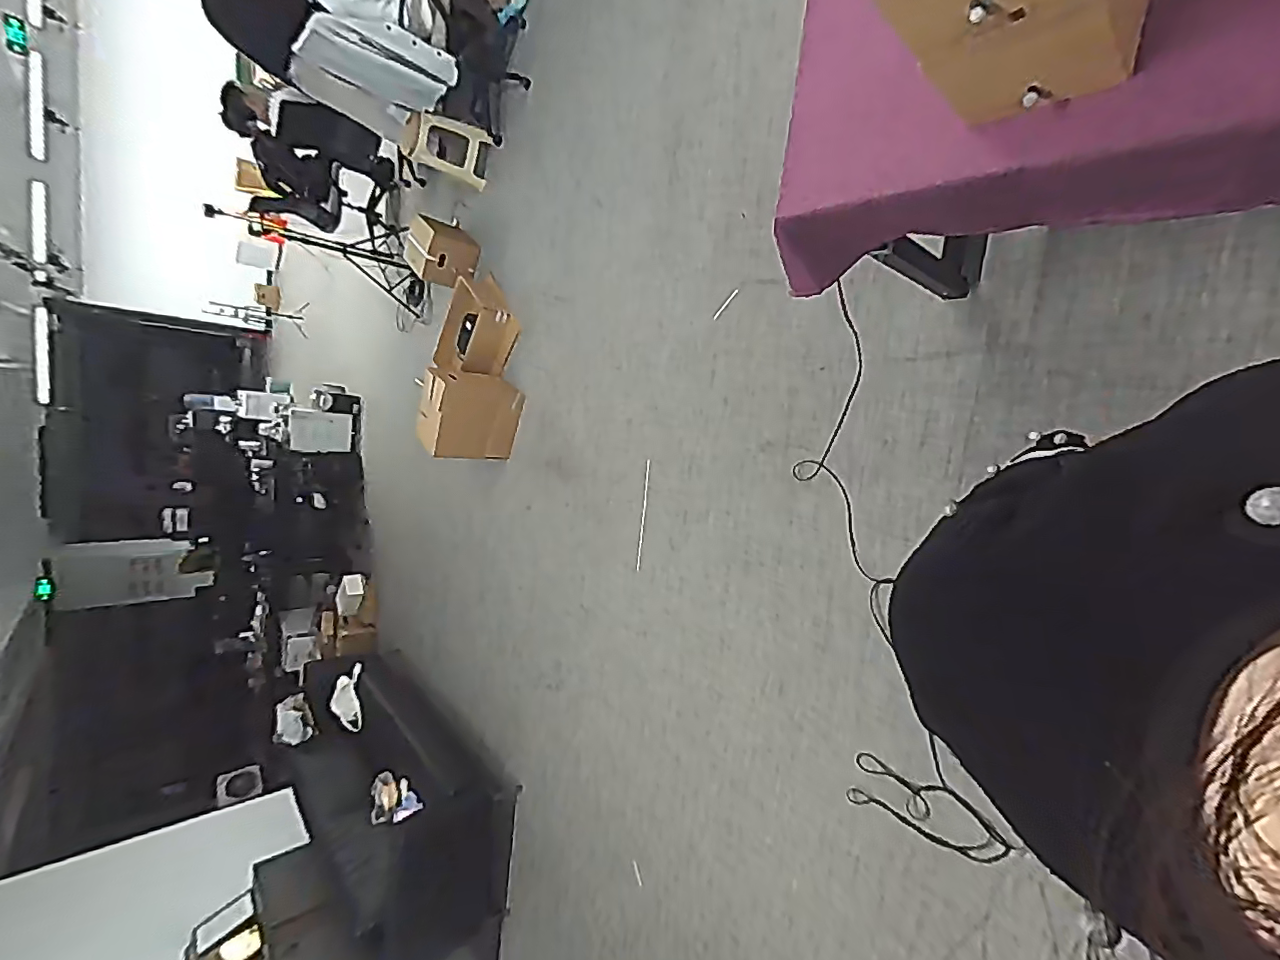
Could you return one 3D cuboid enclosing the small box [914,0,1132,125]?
[{"bbox_3d":[0.449,-0.552,0.622,0.179,0.176,0.168,13,99,46],"label":"small box"}]
